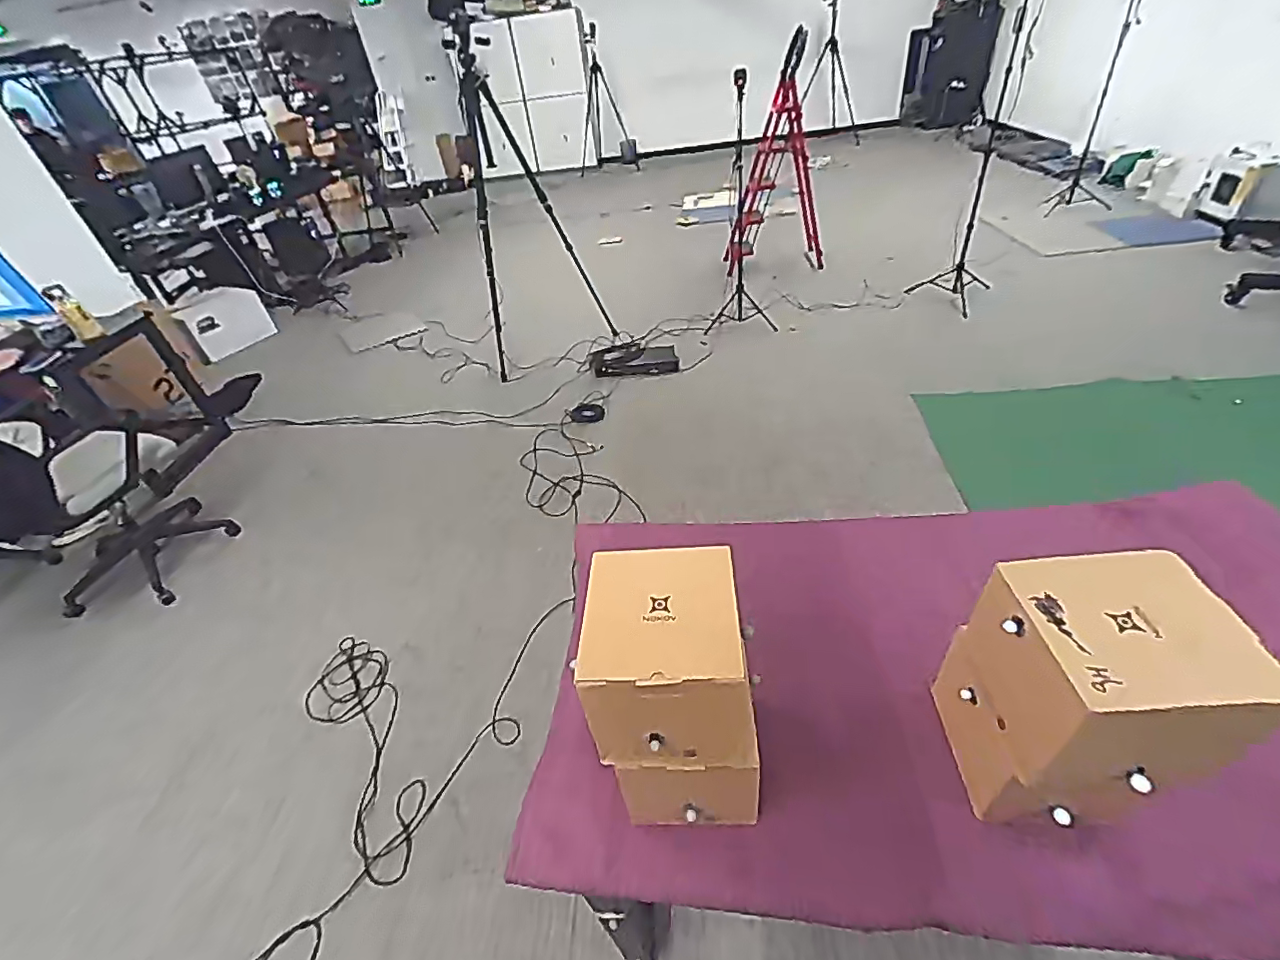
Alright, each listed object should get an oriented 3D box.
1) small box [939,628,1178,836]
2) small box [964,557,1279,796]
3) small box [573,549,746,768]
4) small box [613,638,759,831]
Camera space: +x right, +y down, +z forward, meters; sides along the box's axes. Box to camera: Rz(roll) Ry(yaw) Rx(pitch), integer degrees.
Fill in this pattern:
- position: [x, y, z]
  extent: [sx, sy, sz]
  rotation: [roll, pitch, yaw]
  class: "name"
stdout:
- position: [0.494, 0.304, 0.664]
  extent: [0.168, 0.176, 0.179]
  rotation: [-2, 39, 8]
  class: "small box"
- position: [0.465, 0.196, 0.541]
  extent: [0.179, 0.176, 0.168]
  rotation: [-4, 39, 6]
  class: "small box"
- position: [0.029, 0.200, 0.617]
  extent: [0.168, 0.176, 0.179]
  rotation: [-3, 38, 6]
  class: "small box"
- position: [0.062, 0.330, 0.710]
  extent: [0.168, 0.176, 0.179]
  rotation: [-4, 38, 7]
  class: "small box"
